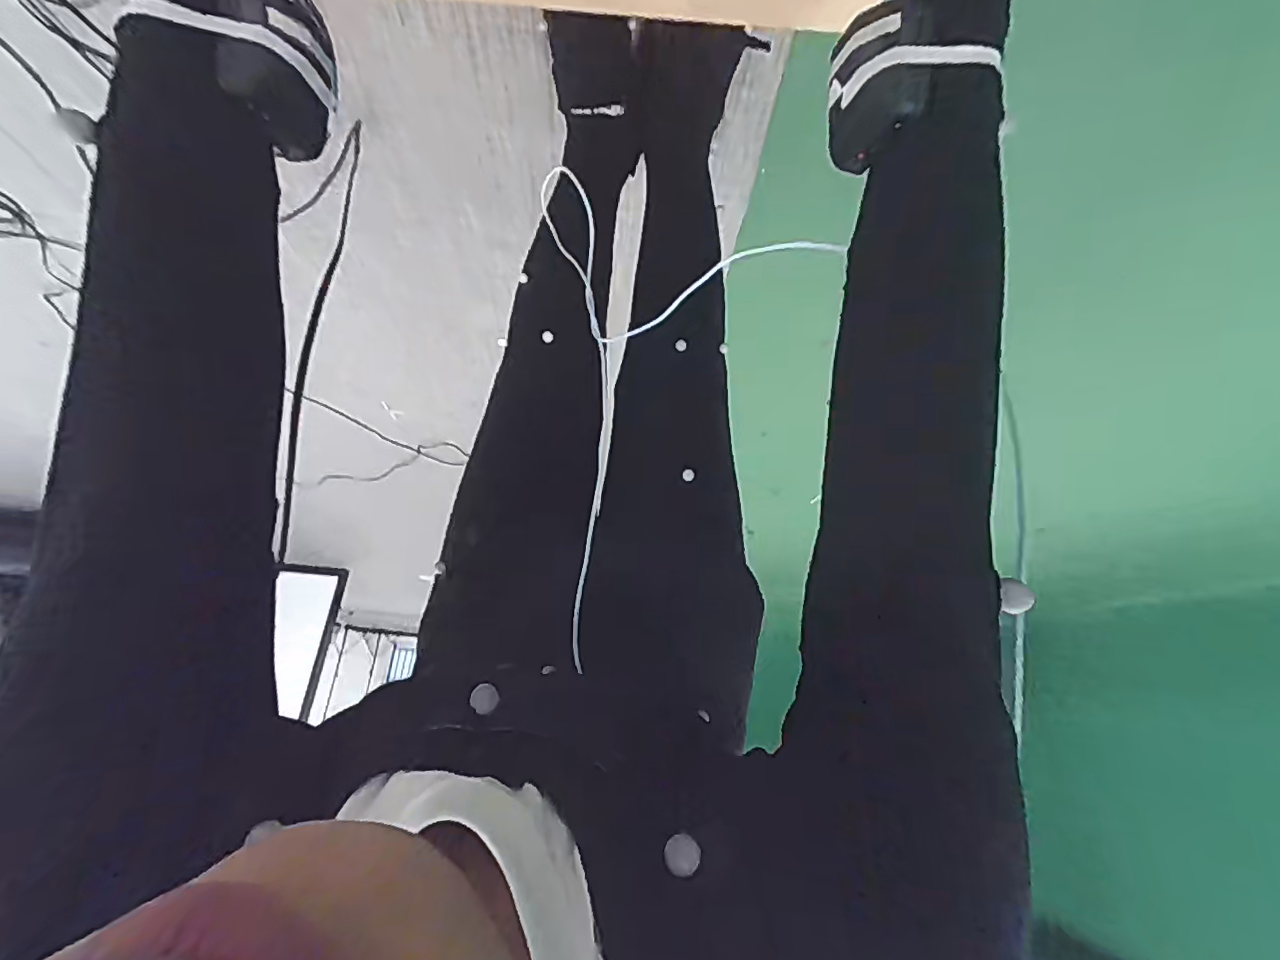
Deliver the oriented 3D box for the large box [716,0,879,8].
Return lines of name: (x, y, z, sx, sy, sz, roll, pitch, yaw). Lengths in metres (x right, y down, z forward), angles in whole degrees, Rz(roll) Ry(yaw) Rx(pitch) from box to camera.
large box: (0.000, -0.574, 0.341, 0.408, 0.320, 0.320, 4, 157, -1)
